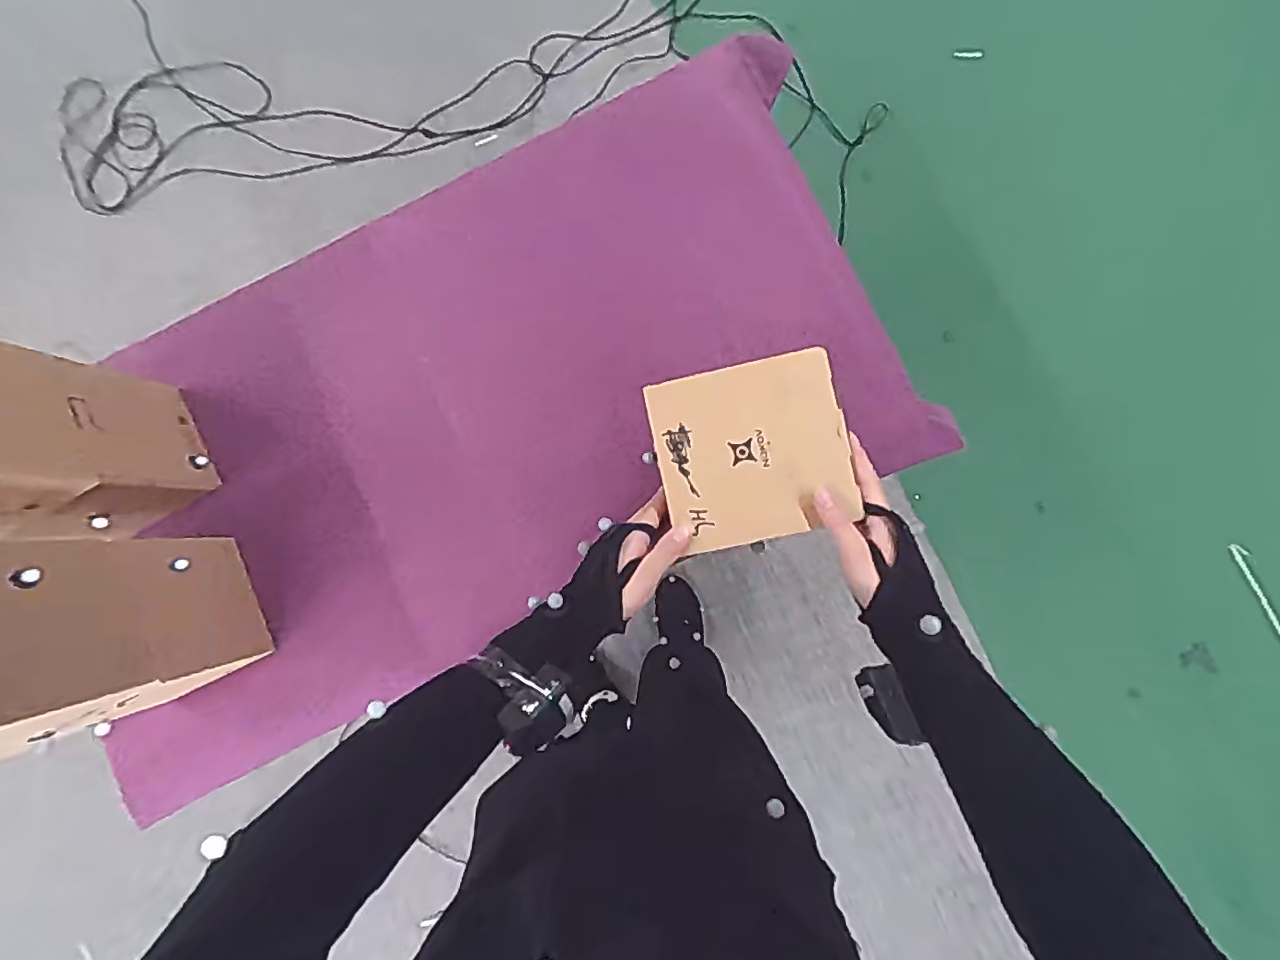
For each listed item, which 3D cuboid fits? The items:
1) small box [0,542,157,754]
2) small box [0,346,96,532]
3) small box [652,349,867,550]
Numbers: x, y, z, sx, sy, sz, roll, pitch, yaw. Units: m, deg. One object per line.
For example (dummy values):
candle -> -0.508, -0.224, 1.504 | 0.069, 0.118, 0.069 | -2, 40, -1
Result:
small box -> -0.633, 0.169, 0.518 | 0.168, 0.176, 0.179 | -28, 84, 2
small box -> -0.719, -0.041, 0.542 | 0.168, 0.176, 0.179 | -28, 84, 1
small box -> 0.113, -0.023, 0.582 | 0.179, 0.176, 0.168 | -11, 84, 3
